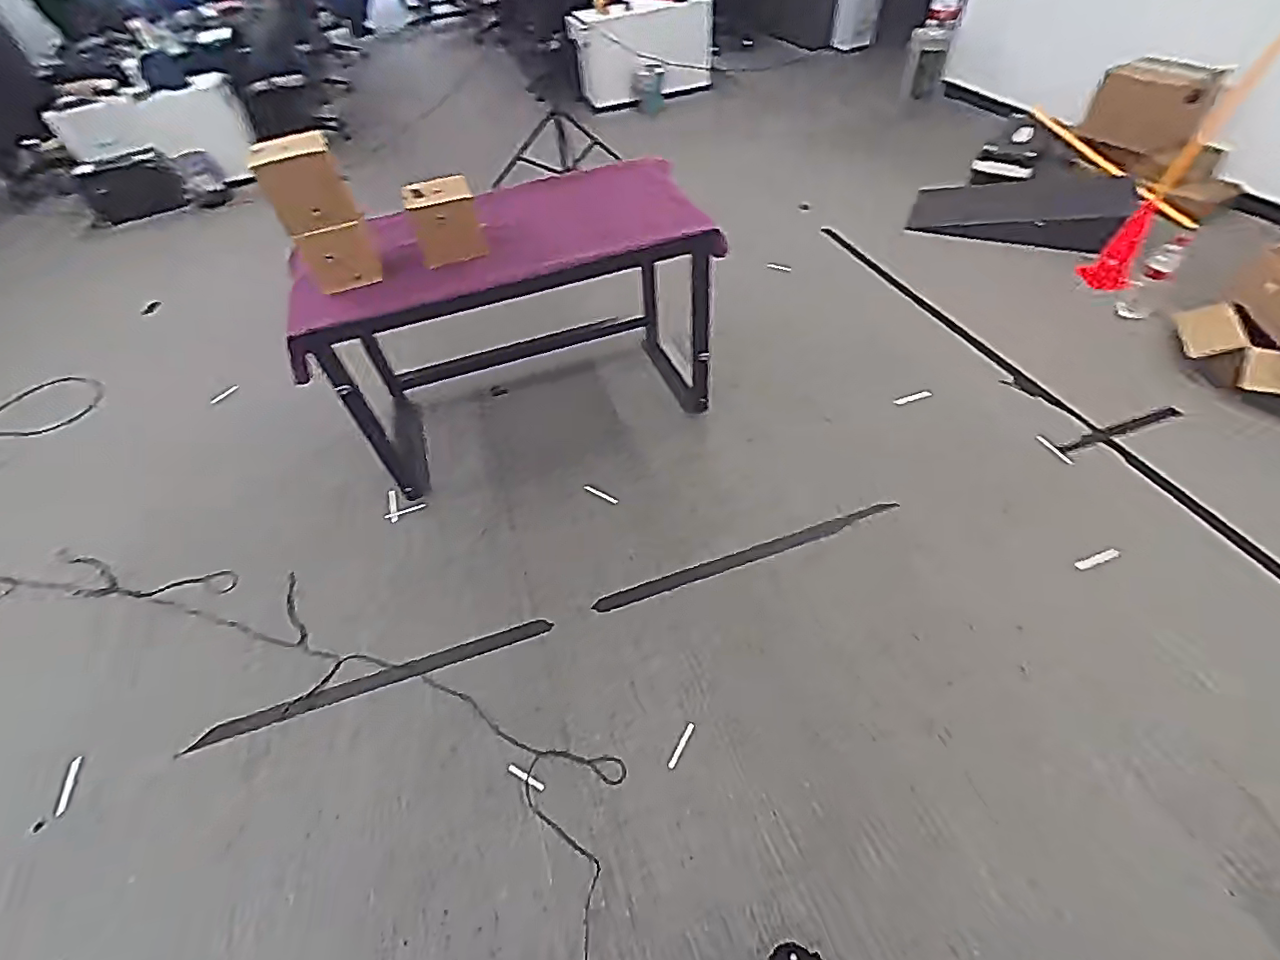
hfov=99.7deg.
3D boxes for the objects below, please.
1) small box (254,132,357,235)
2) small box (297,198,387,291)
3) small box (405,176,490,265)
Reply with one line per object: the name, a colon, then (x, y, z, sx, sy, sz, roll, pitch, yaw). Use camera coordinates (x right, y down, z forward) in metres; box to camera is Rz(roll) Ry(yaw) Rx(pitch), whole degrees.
small box: (-0.845, -0.756, 1.382, 0.179, 0.176, 0.168, -22, 51, -13)
small box: (-0.825, -0.648, 1.504, 0.168, 0.176, 0.179, -21, 51, -11)
small box: (-0.550, -0.741, 1.553, 0.179, 0.176, 0.168, -19, 51, -11)
